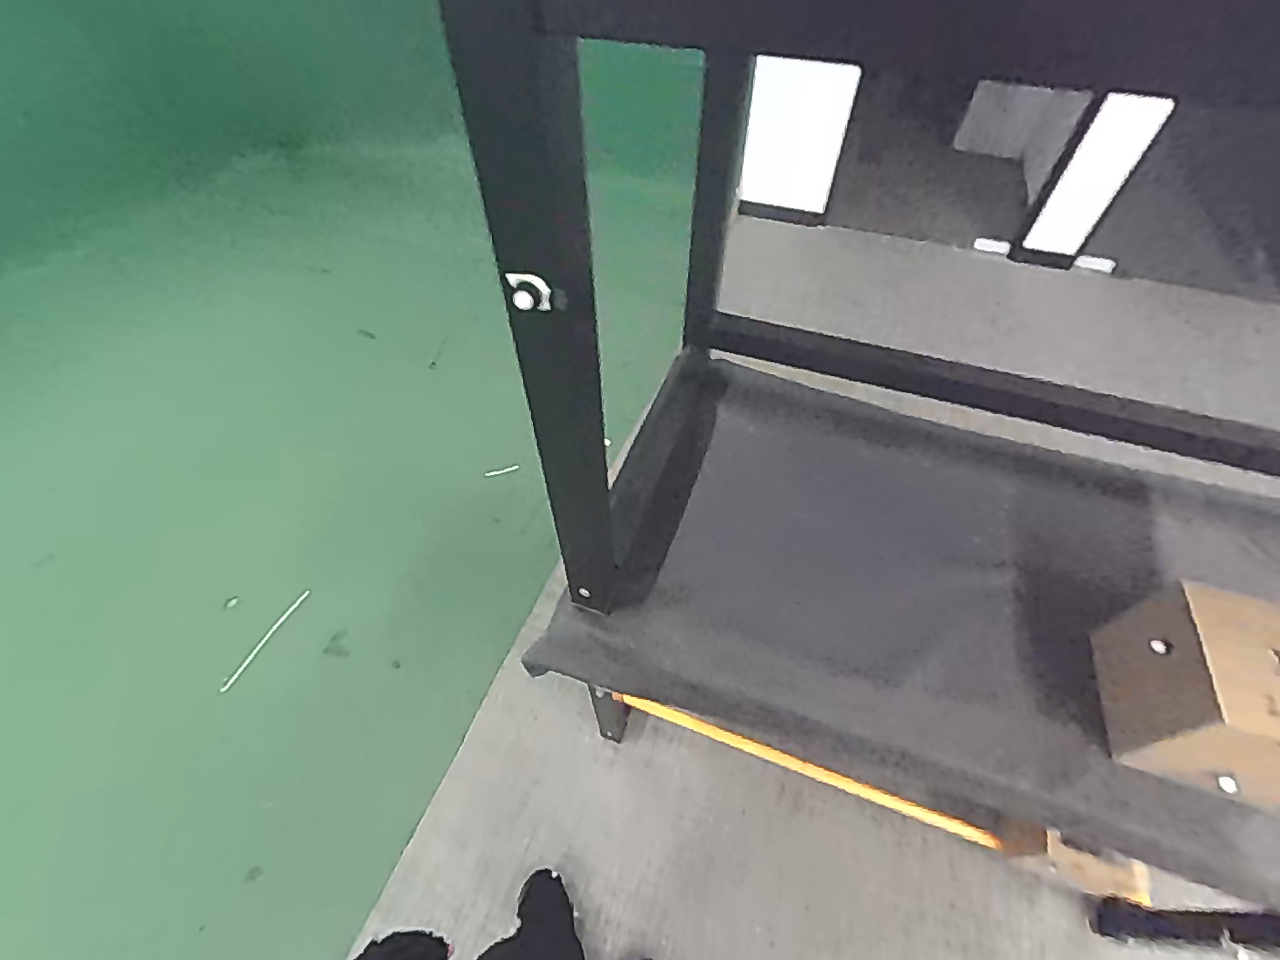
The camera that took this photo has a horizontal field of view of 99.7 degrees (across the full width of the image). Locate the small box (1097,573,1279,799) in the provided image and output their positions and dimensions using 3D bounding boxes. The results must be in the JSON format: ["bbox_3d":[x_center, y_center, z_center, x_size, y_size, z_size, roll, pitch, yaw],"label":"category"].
[{"bbox_3d":[0.690,0.244,0.641,0.168,0.176,0.179,15,52,13],"label":"small box"}]
